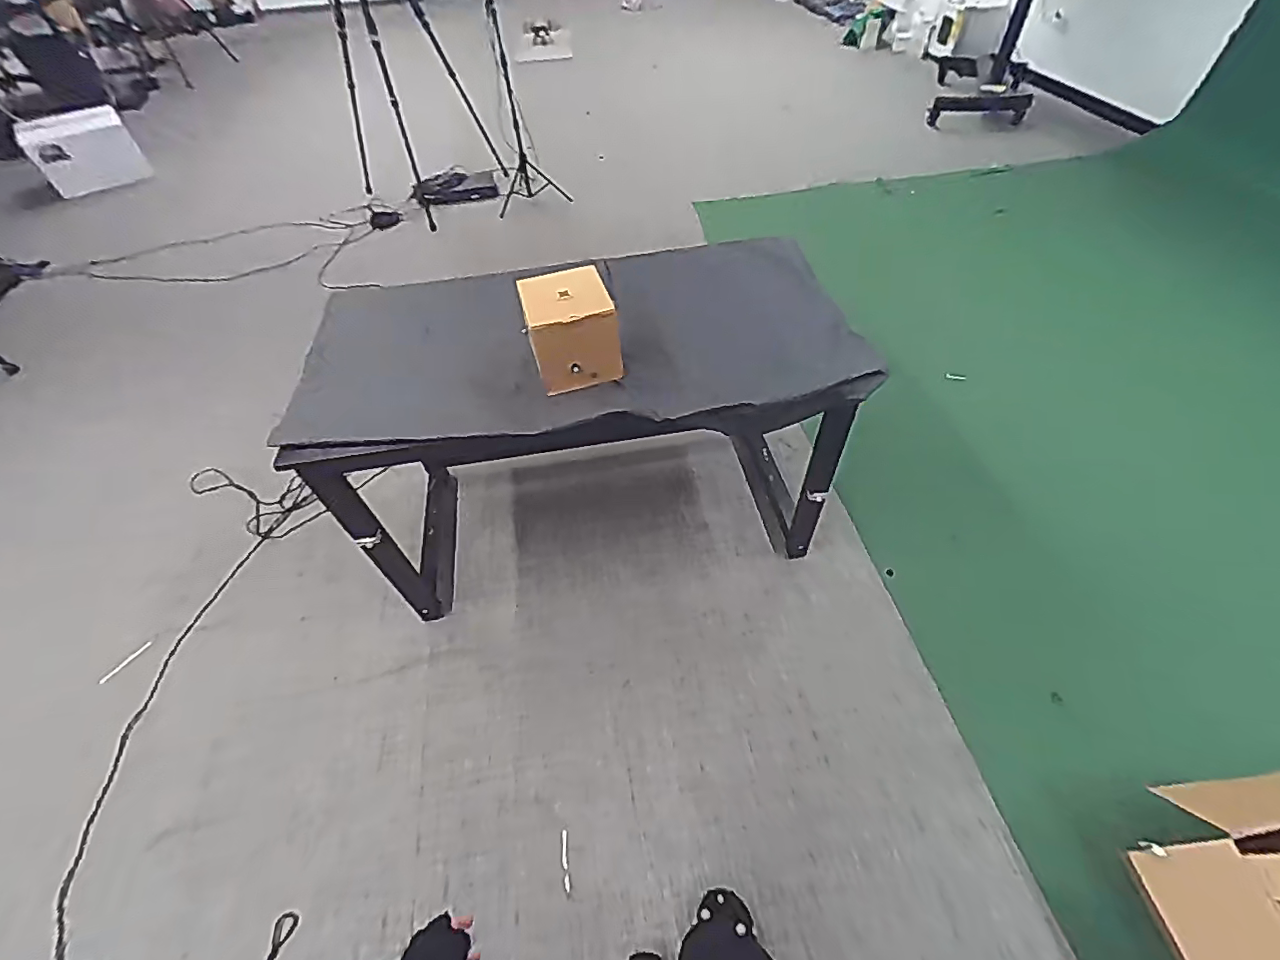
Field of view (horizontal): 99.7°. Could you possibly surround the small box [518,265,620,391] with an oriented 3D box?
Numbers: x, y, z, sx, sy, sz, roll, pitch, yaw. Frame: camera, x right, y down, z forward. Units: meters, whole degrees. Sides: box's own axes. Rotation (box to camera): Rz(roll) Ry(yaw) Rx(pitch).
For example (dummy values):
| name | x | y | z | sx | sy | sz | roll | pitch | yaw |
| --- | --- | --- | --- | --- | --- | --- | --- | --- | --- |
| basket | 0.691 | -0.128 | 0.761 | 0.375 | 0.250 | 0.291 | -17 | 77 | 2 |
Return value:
| name | x | y | z | sx | sy | sz | roll | pitch | yaw |
| --- | --- | --- | --- | --- | --- | --- | --- | --- | --- |
| small box | -0.143 | -0.311 | 1.111 | 0.168 | 0.176 | 0.179 | -15 | 52 | -9 |
